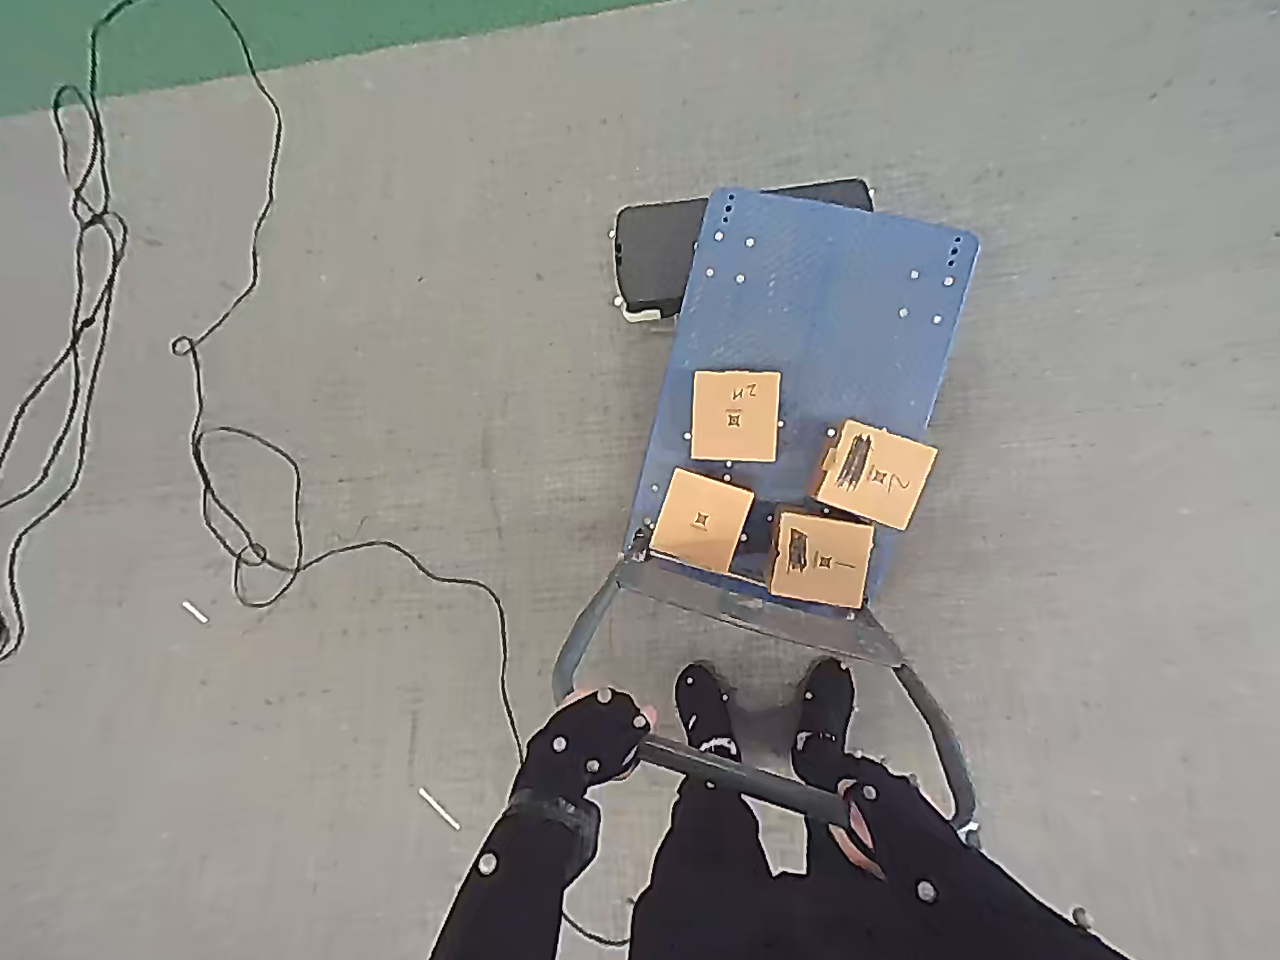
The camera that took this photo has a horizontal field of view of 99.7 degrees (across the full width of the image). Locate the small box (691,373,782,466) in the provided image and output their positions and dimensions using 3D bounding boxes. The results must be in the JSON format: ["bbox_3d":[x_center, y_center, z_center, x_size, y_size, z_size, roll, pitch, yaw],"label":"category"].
[{"bbox_3d":[0.200,-0.124,1.131,0.168,0.176,0.179,4,94,8],"label":"small box"}]

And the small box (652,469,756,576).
[{"bbox_3d":[0.136,0.080,1.156,0.168,0.176,0.179,19,96,7],"label":"small box"}]
